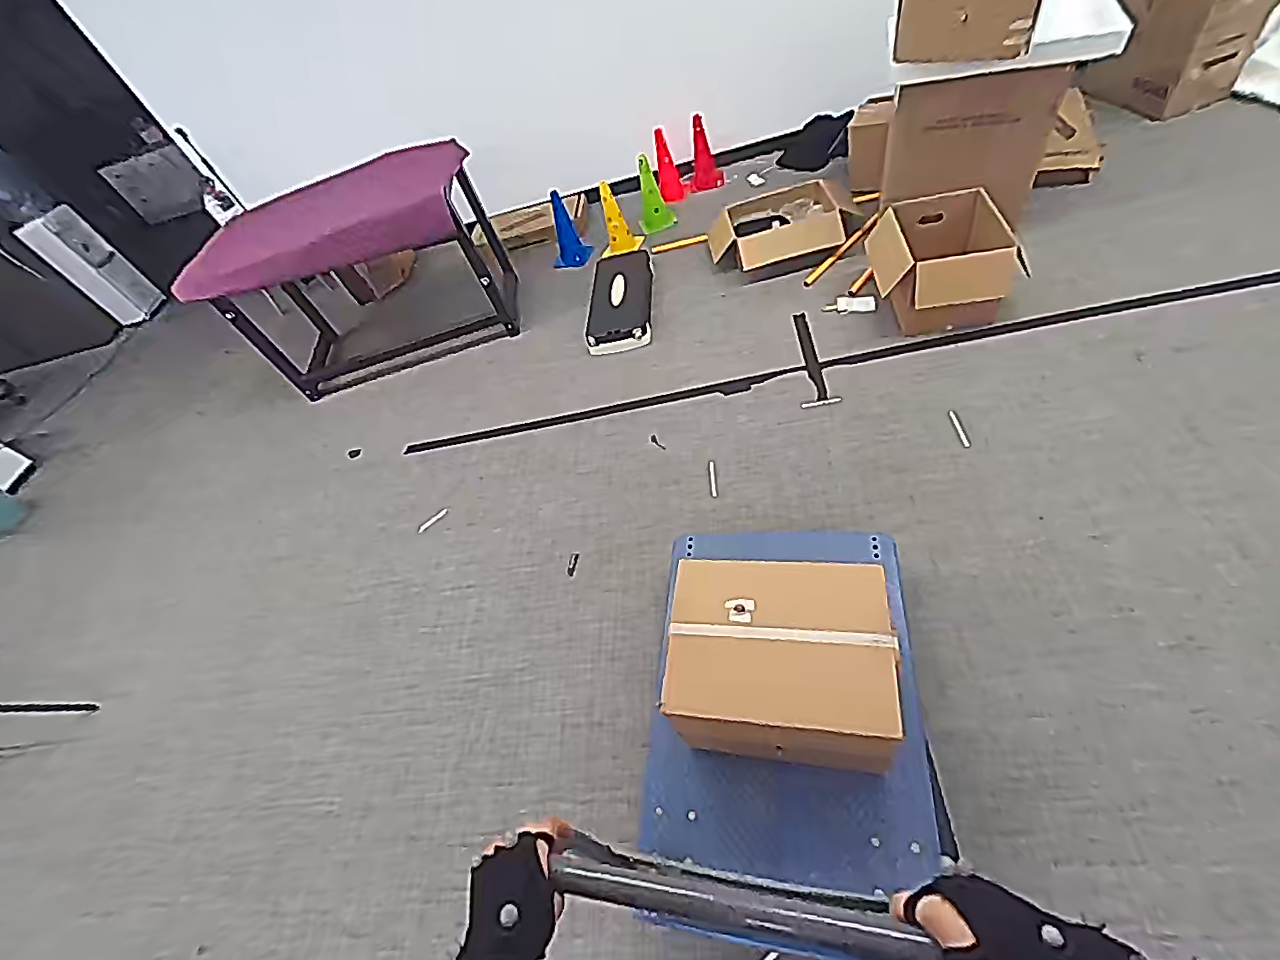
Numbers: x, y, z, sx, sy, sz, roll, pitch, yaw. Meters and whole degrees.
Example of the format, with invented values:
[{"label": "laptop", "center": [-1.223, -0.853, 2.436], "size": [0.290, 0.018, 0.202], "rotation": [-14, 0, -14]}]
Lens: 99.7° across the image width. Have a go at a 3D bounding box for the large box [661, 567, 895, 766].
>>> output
[{"label": "large box", "center": [0.290, 0.391, 1.139], "size": [0.408, 0.320, 0.320], "rotation": [-2, 52, 18]}]
